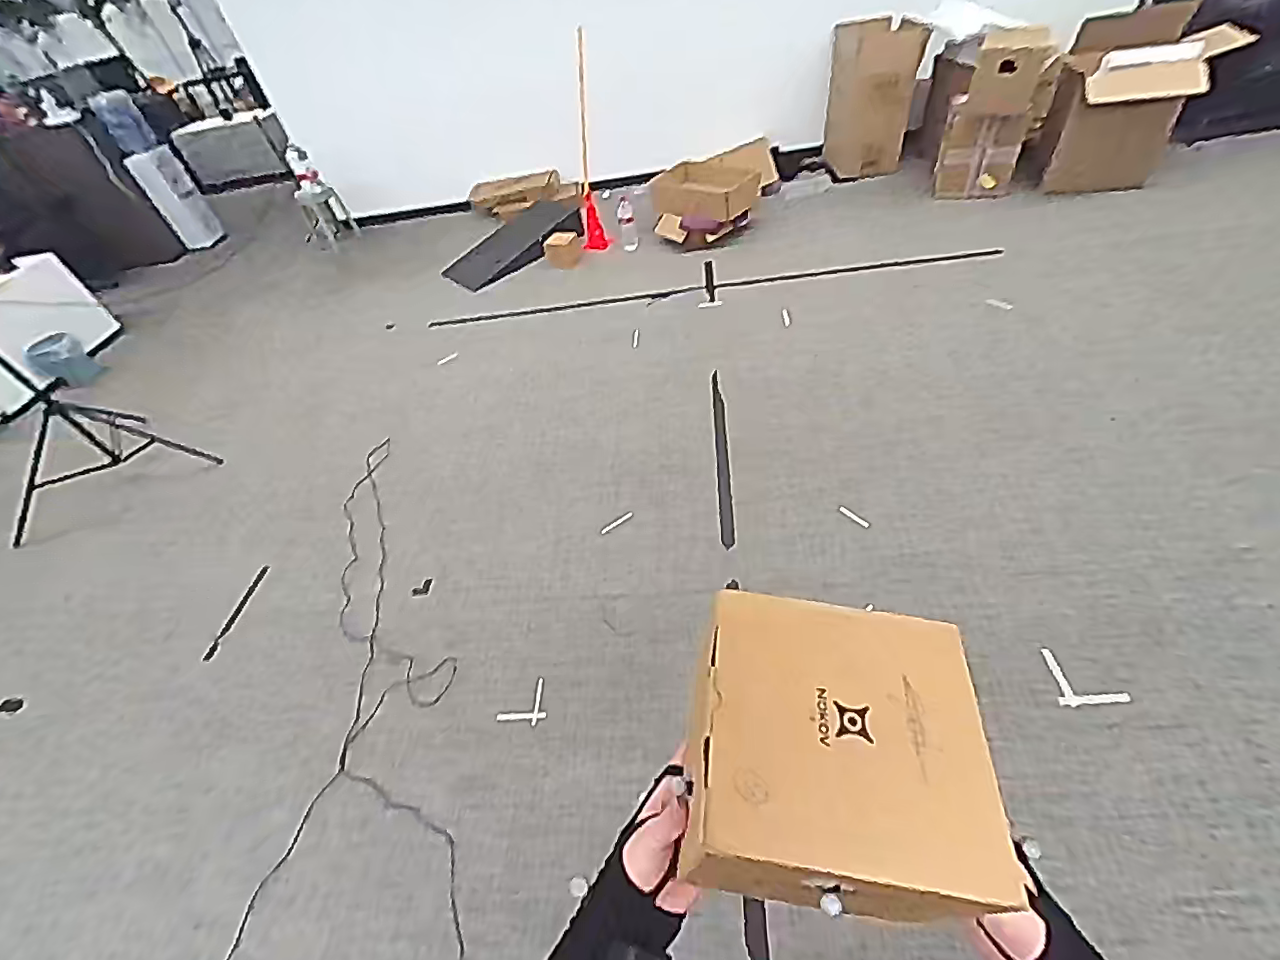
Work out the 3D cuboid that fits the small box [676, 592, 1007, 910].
[{"bbox_3d":[0.126,0.209,0.413,0.179,0.176,0.168,8,49,4],"label":"small box"}]
